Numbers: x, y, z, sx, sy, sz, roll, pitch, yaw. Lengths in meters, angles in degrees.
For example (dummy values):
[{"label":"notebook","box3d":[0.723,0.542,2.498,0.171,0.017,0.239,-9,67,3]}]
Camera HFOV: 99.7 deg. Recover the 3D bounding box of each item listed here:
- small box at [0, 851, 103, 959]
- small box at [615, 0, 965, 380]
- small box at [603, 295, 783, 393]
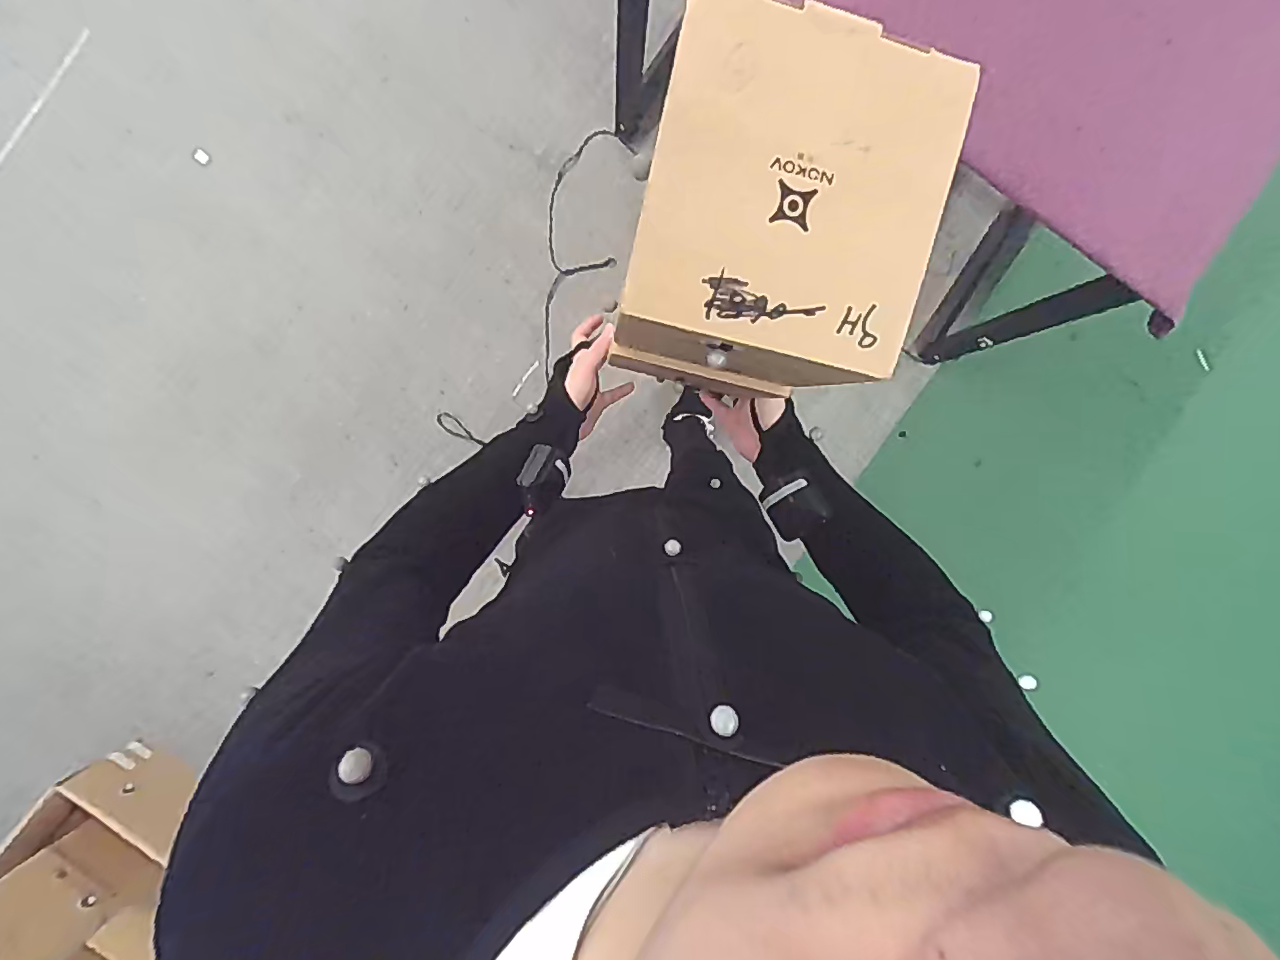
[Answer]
[{"label":"small box","box3d":[-1.099,0.797,0.928,0.168,0.176,0.179,43,90,-4]},{"label":"small box","box3d":[0.078,-0.176,0.380,0.168,0.176,0.179,13,97,-5]},{"label":"small box","box3d":[0.063,-0.191,0.543,0.168,0.176,0.179,13,97,-6]}]
